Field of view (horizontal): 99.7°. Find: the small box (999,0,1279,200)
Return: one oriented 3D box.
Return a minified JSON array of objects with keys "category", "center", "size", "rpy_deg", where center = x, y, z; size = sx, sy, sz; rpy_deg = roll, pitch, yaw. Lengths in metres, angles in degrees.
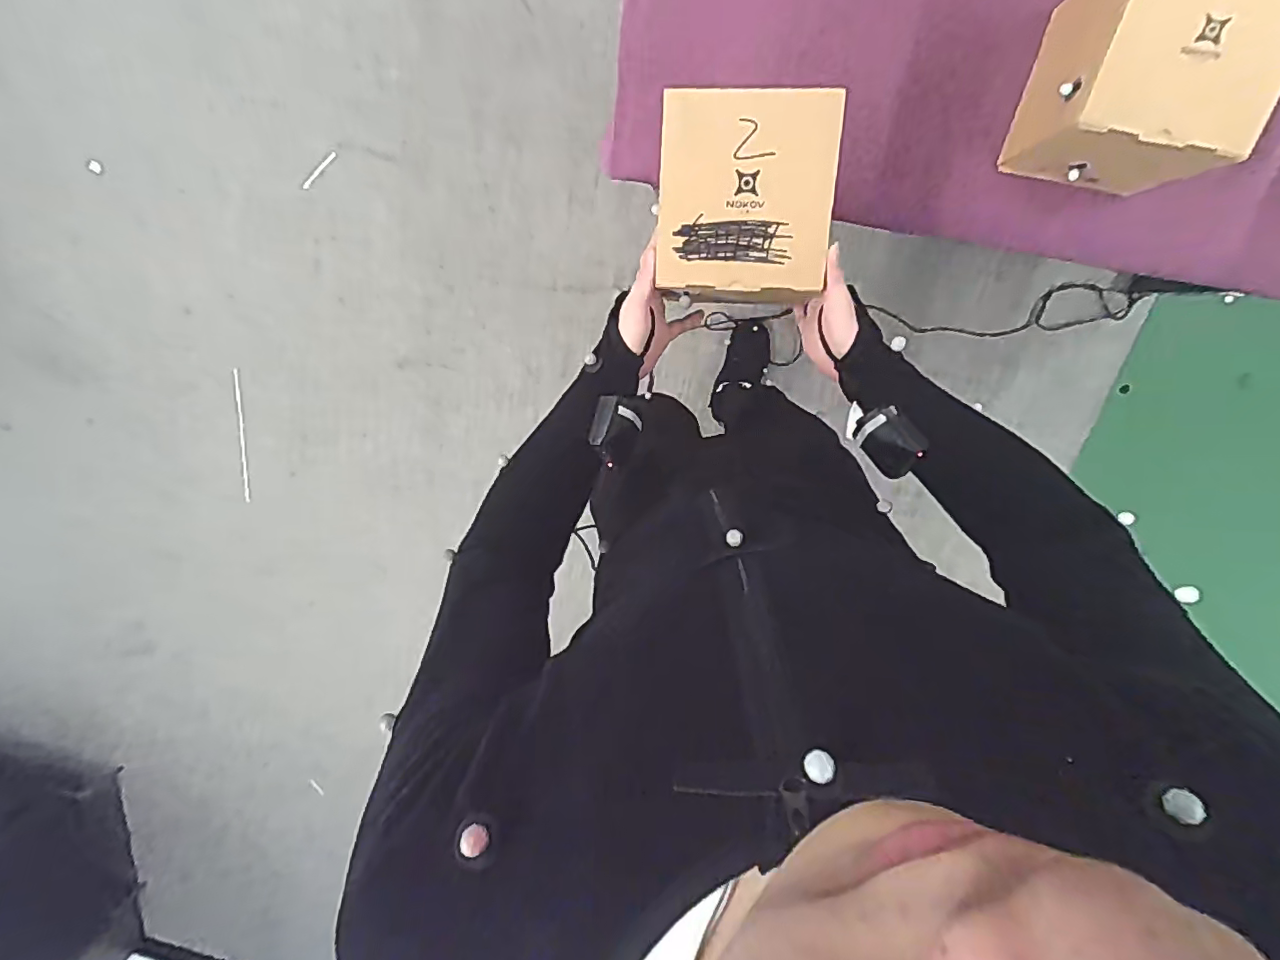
[{"category":"small box","center":[0.535,-0.426,0.586],"size":[0.168,0.176,0.179],"rpy_deg":[13,110,3]}]
